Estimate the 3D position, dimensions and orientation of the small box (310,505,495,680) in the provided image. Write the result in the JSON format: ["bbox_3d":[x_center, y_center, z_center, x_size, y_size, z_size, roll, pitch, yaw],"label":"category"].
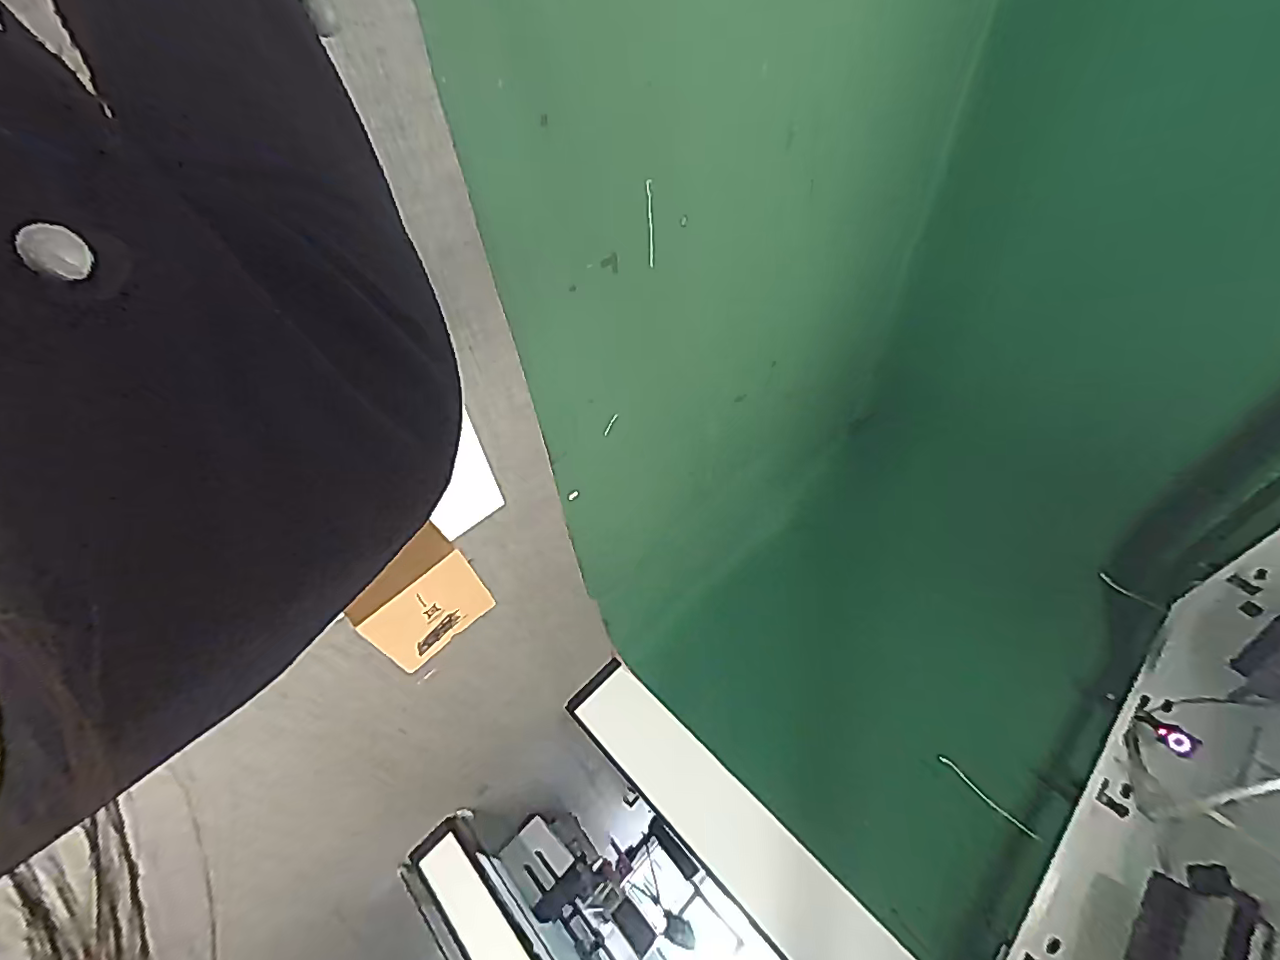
[{"bbox_3d":[-0.360,0.169,0.835,0.168,0.176,0.179,-42,149,-19],"label":"small box"}]
